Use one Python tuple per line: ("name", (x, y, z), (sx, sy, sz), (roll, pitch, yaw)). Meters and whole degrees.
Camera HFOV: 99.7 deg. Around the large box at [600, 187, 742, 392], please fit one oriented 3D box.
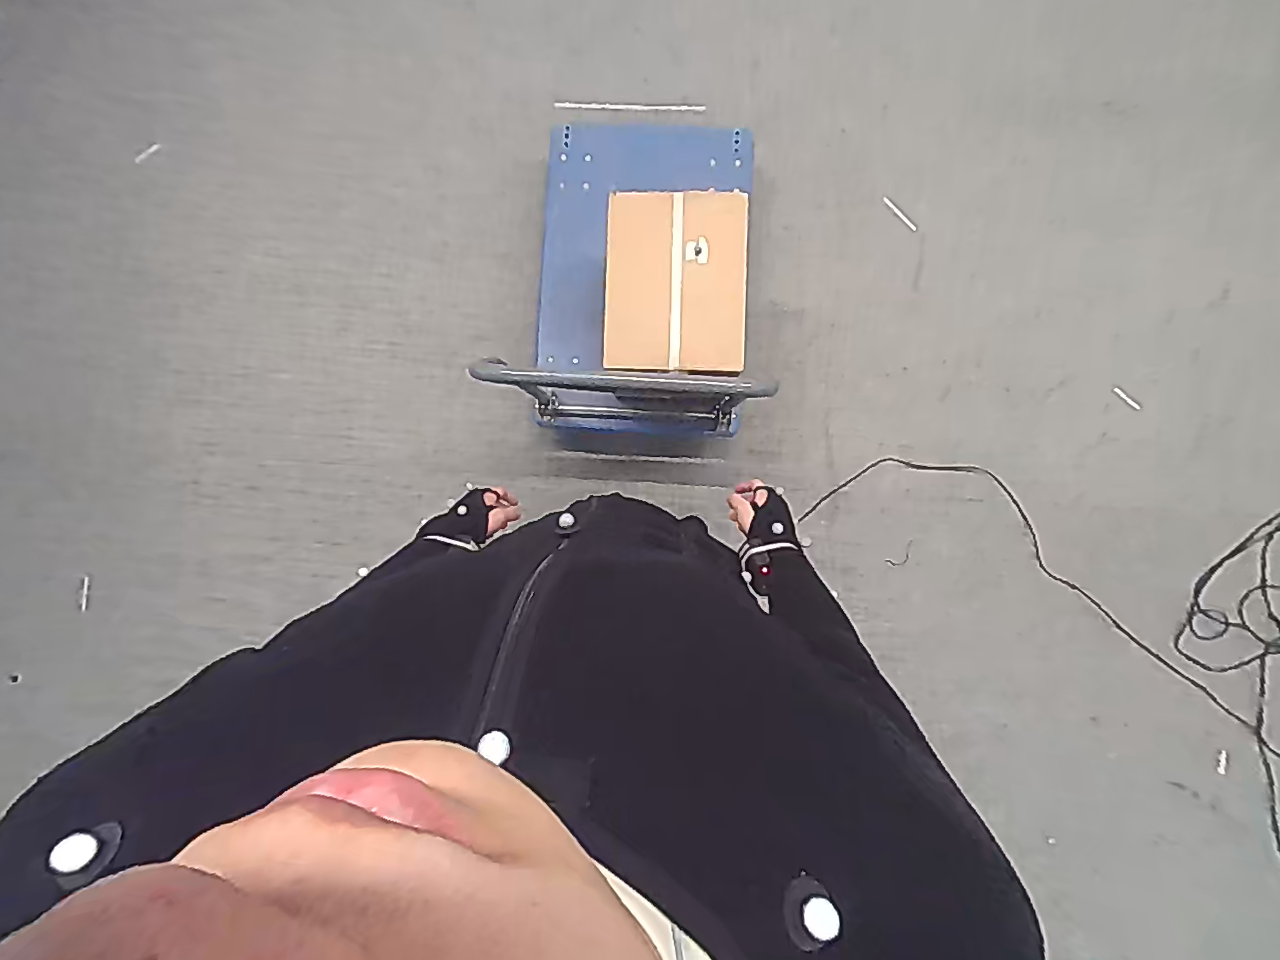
("large box", (0.074, -0.442, 1.338), (0.320, 0.320, 0.408), (2, 88, 1))
